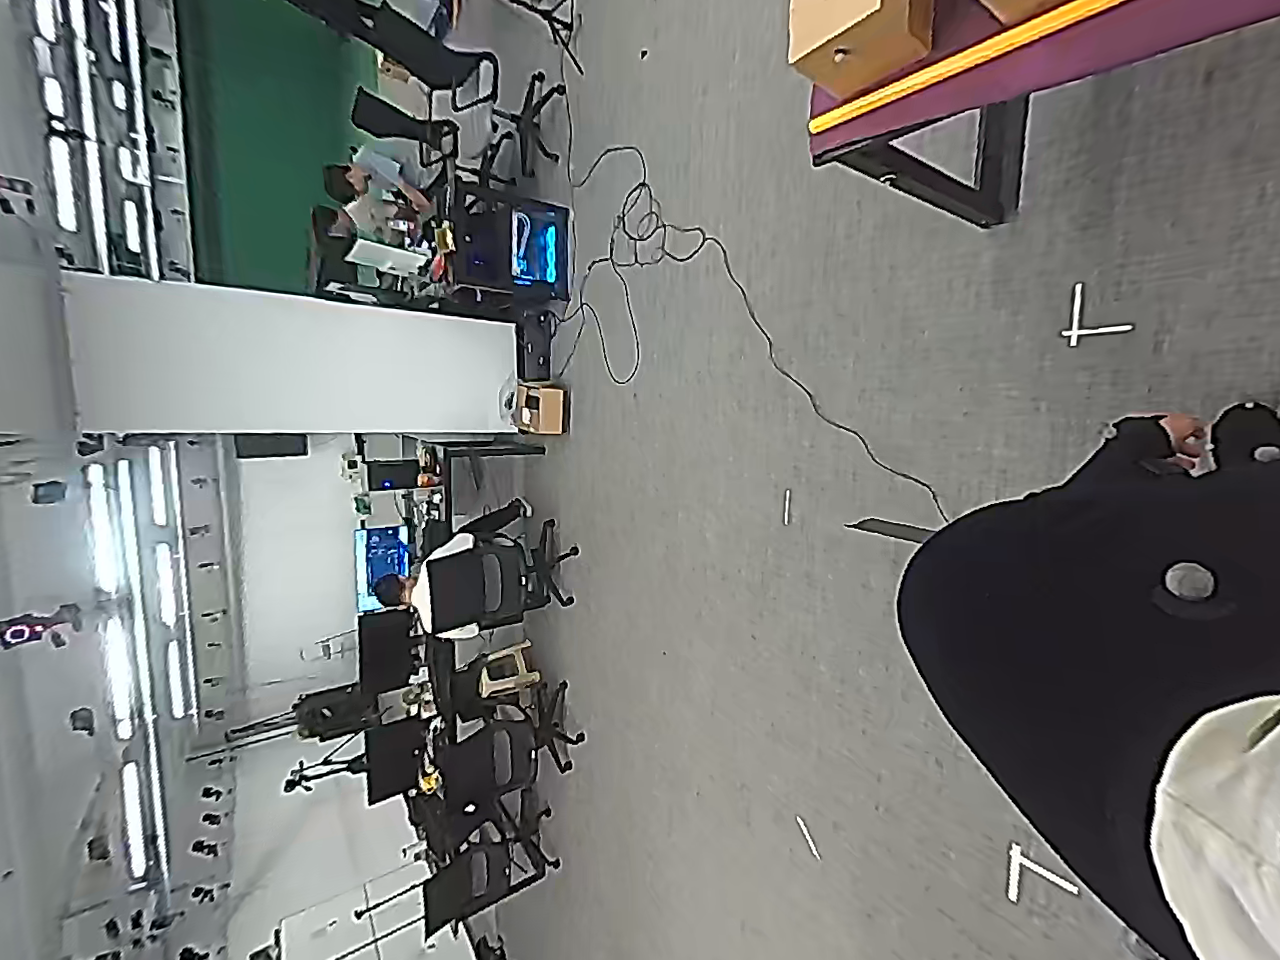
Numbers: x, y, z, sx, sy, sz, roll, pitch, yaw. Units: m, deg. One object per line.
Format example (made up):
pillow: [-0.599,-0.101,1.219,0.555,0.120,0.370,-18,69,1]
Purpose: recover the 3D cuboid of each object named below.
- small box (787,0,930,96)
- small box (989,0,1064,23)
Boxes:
small box: [0.374,-0.800,0.917,0.179,0.176,0.168,10,101,54]
small box: [0.533,-0.750,0.690,0.168,0.176,0.179,13,104,56]
